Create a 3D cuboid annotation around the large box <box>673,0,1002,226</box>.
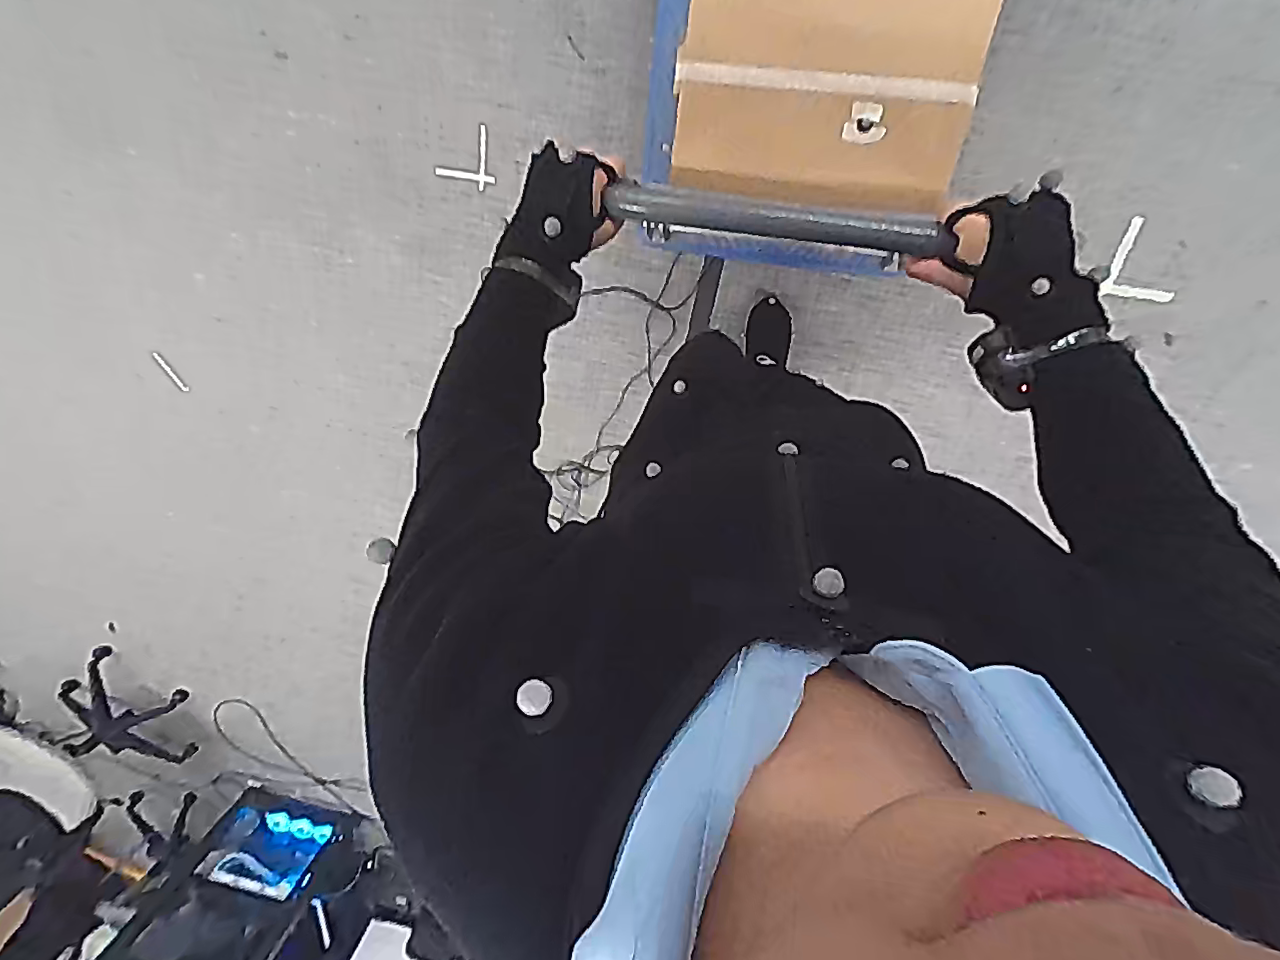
[{"bbox_3d":[0.281,-0.610,0.888,0.408,0.320,0.320,10,115,6],"label":"large box"}]
